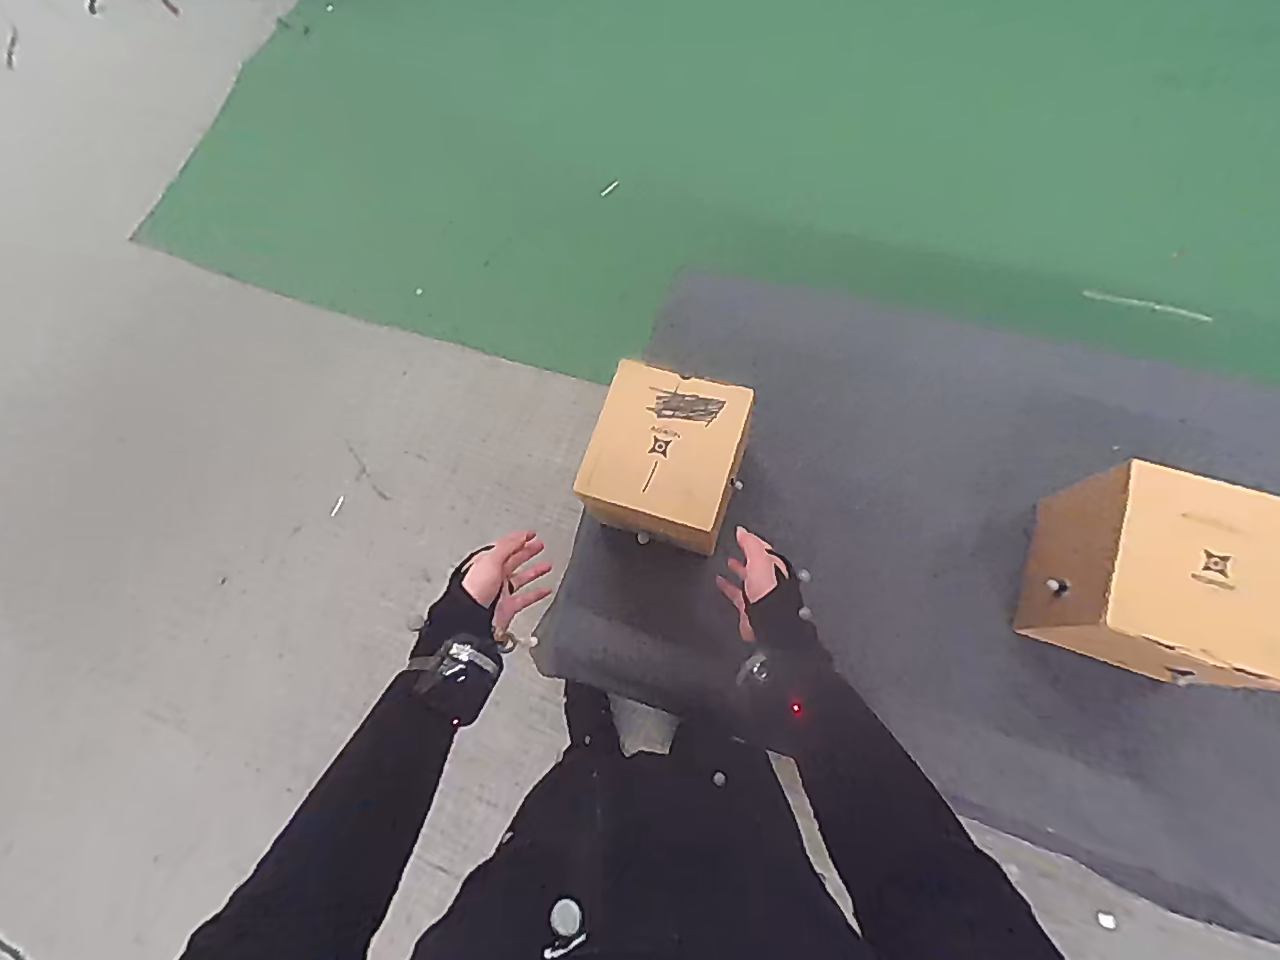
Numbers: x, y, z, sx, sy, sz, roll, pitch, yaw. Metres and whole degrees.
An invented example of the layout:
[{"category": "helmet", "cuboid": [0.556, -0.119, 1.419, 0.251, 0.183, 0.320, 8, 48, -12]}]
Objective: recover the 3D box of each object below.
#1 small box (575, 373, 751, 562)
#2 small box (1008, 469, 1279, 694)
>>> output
[{"category": "small box", "cuboid": [0.036, -0.008, 0.697, 0.168, 0.176, 0.179, 16, 76, 12]}, {"category": "small box", "cuboid": [0.543, 0.113, 0.595, 0.168, 0.176, 0.179, 17, 76, 11]}]
